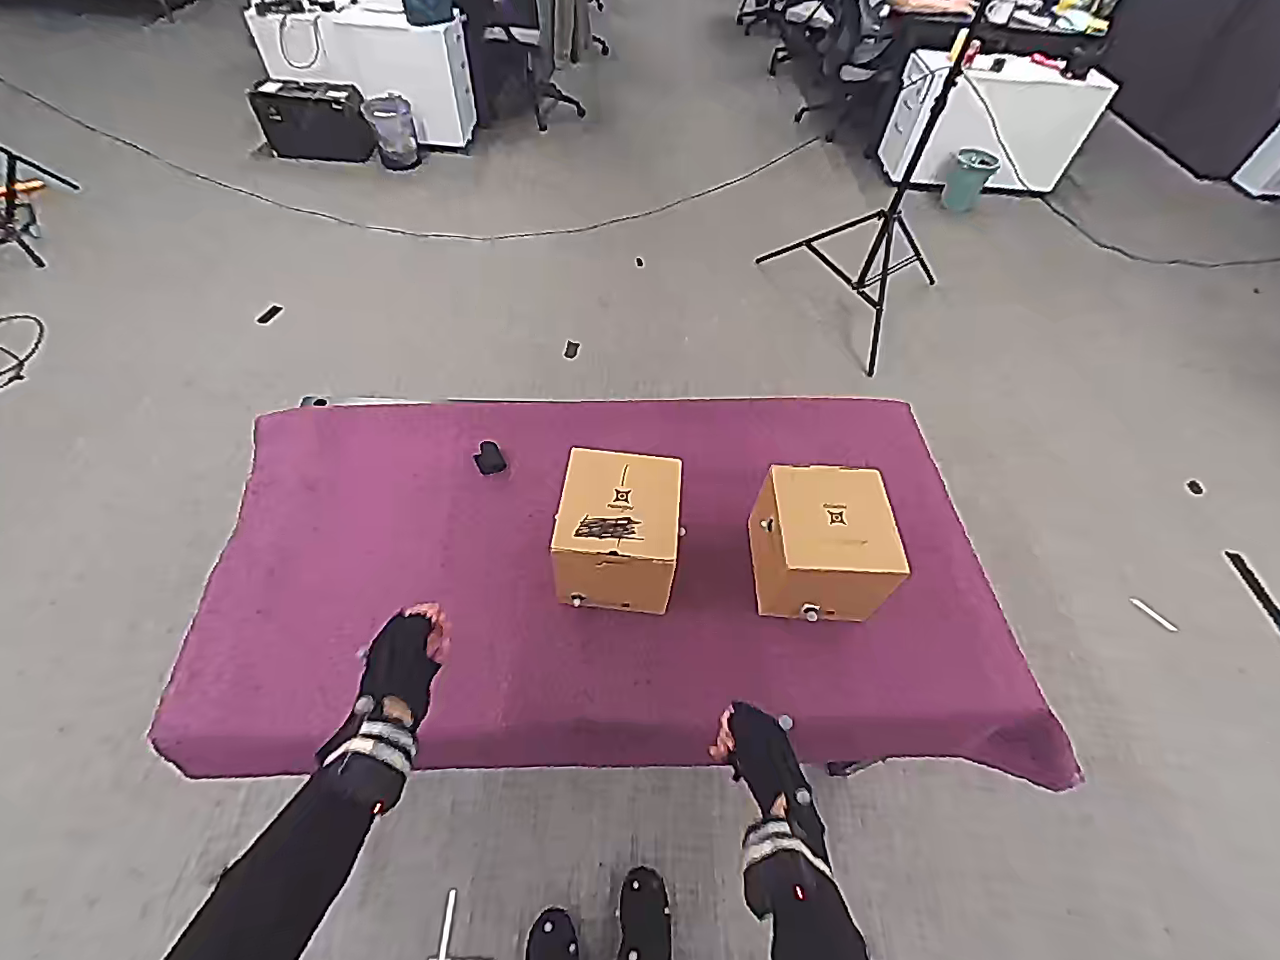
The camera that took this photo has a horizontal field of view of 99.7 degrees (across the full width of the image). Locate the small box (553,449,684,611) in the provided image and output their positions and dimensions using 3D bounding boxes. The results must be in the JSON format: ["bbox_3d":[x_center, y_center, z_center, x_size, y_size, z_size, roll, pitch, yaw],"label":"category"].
[{"bbox_3d":[-0.028,0.080,0.812,0.168,0.176,0.179,7,51,0],"label":"small box"}]

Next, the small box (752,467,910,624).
[{"bbox_3d":[0.273,0.101,0.823,0.168,0.176,0.179,2,53,-1],"label":"small box"}]
